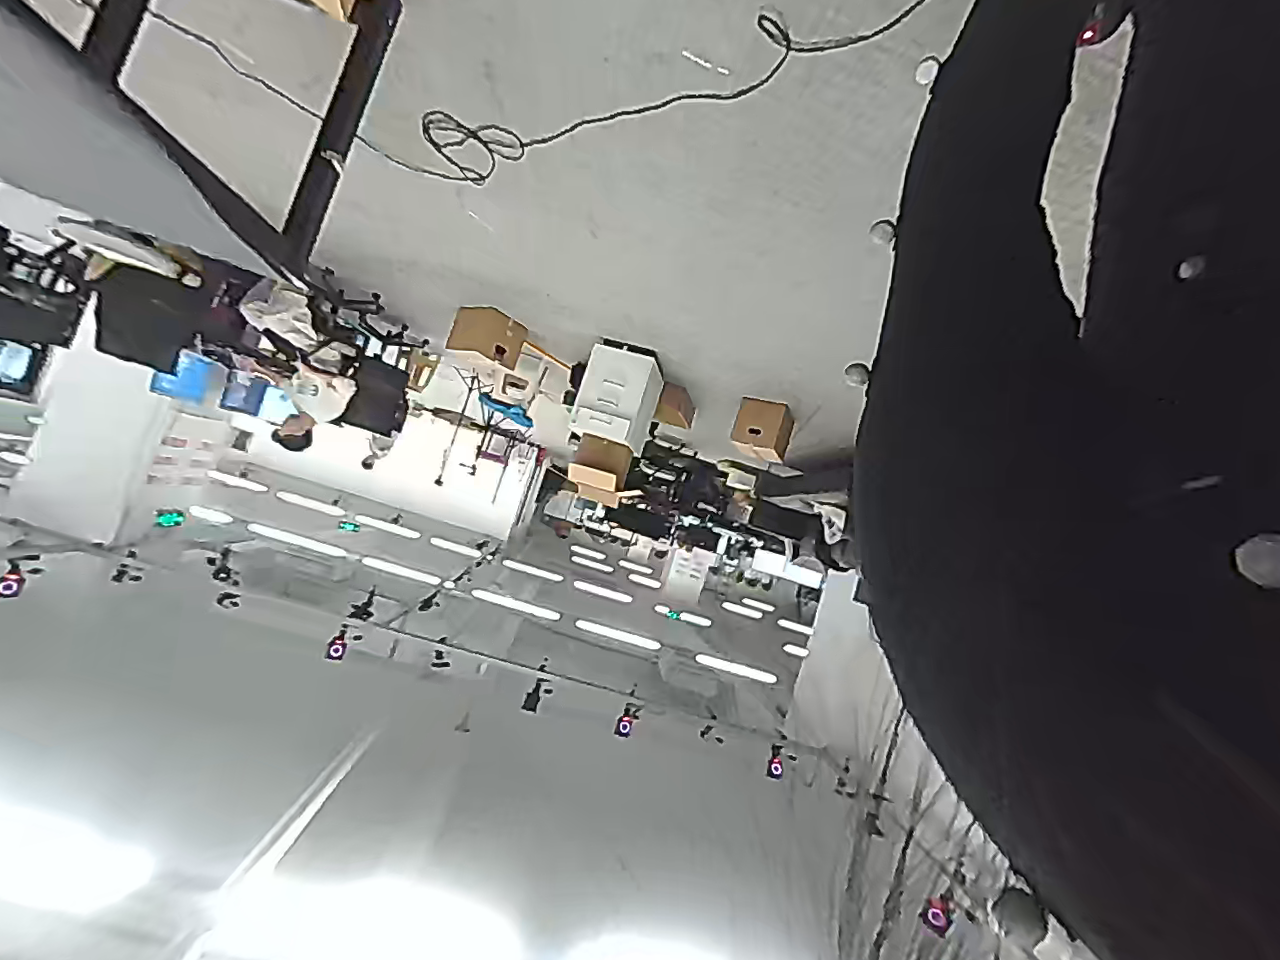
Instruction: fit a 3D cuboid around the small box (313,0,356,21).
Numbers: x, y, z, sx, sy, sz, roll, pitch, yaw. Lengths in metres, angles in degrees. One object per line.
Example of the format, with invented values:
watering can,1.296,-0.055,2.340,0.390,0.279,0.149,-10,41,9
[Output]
small box,-0.662,-1.119,1.102,0.168,0.176,0.179,19,177,-19
